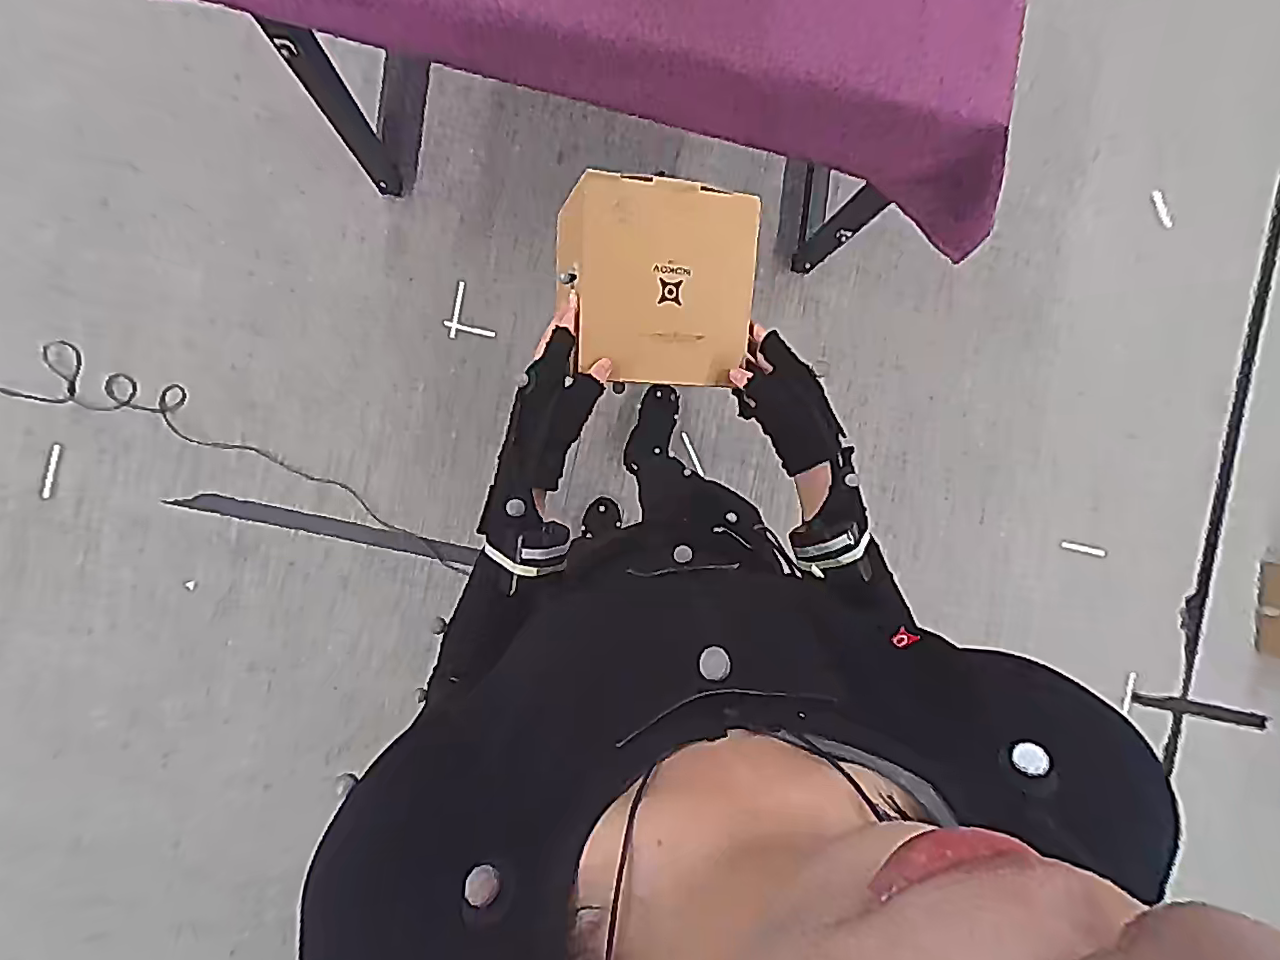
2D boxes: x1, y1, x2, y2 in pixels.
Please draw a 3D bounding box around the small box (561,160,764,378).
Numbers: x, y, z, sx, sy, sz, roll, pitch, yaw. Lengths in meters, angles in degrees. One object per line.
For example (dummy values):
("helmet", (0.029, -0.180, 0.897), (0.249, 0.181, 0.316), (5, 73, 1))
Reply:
("small box", (0.010, -0.199, 0.561), (0.168, 0.176, 0.179), (-1, 103, -15))
